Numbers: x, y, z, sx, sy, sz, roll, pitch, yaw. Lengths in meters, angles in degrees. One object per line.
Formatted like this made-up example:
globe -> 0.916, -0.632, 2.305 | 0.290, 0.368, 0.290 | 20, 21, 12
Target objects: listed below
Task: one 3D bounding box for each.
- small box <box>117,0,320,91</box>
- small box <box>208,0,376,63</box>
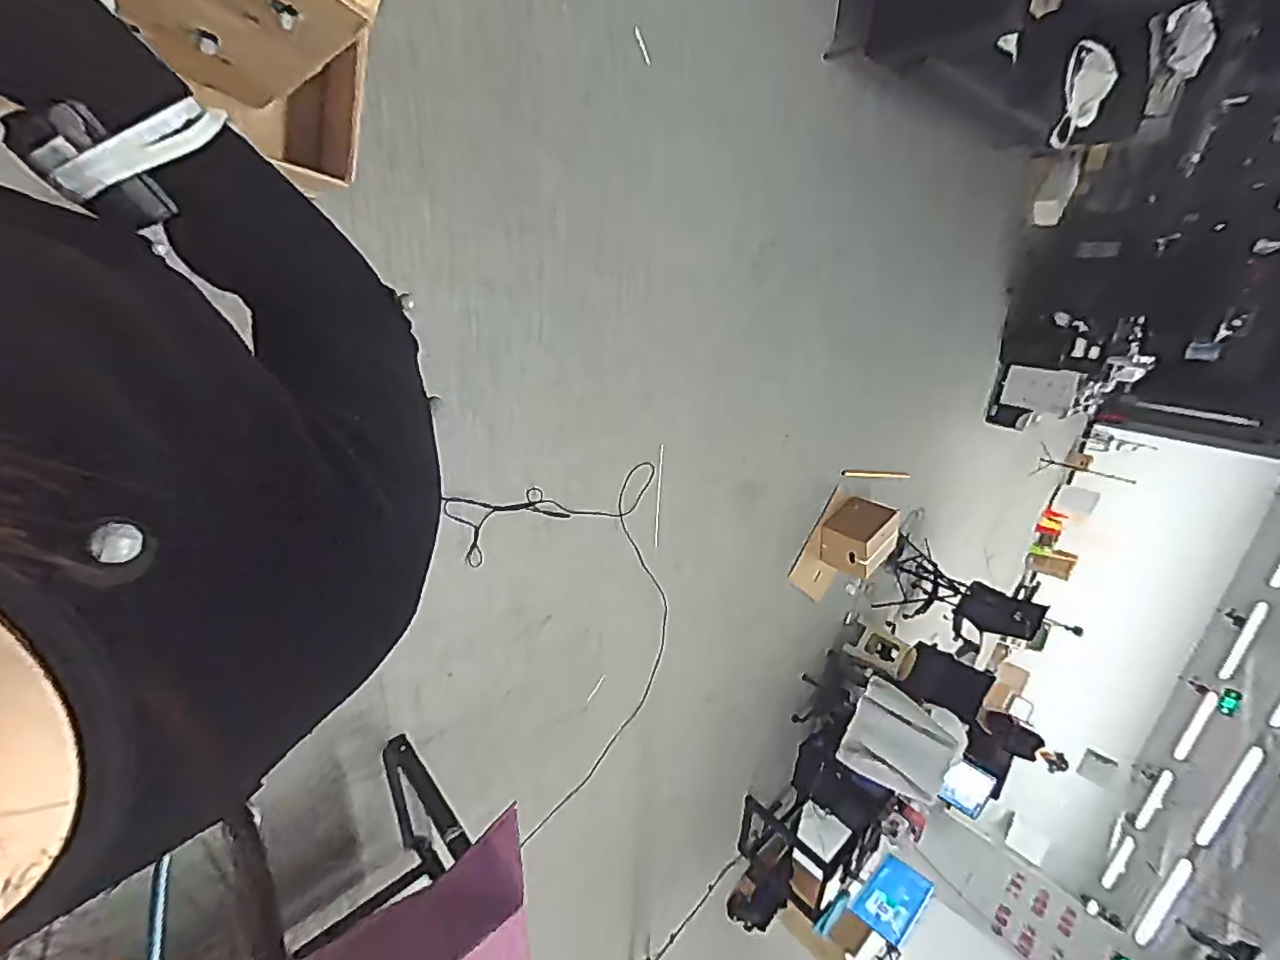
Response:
small box -> -0.403, -0.520, 0.524 | 0.168, 0.176, 0.179 | 8, 103, -46
small box -> -0.296, -0.469, 0.412 | 0.168, 0.176, 0.179 | 8, 101, -46
